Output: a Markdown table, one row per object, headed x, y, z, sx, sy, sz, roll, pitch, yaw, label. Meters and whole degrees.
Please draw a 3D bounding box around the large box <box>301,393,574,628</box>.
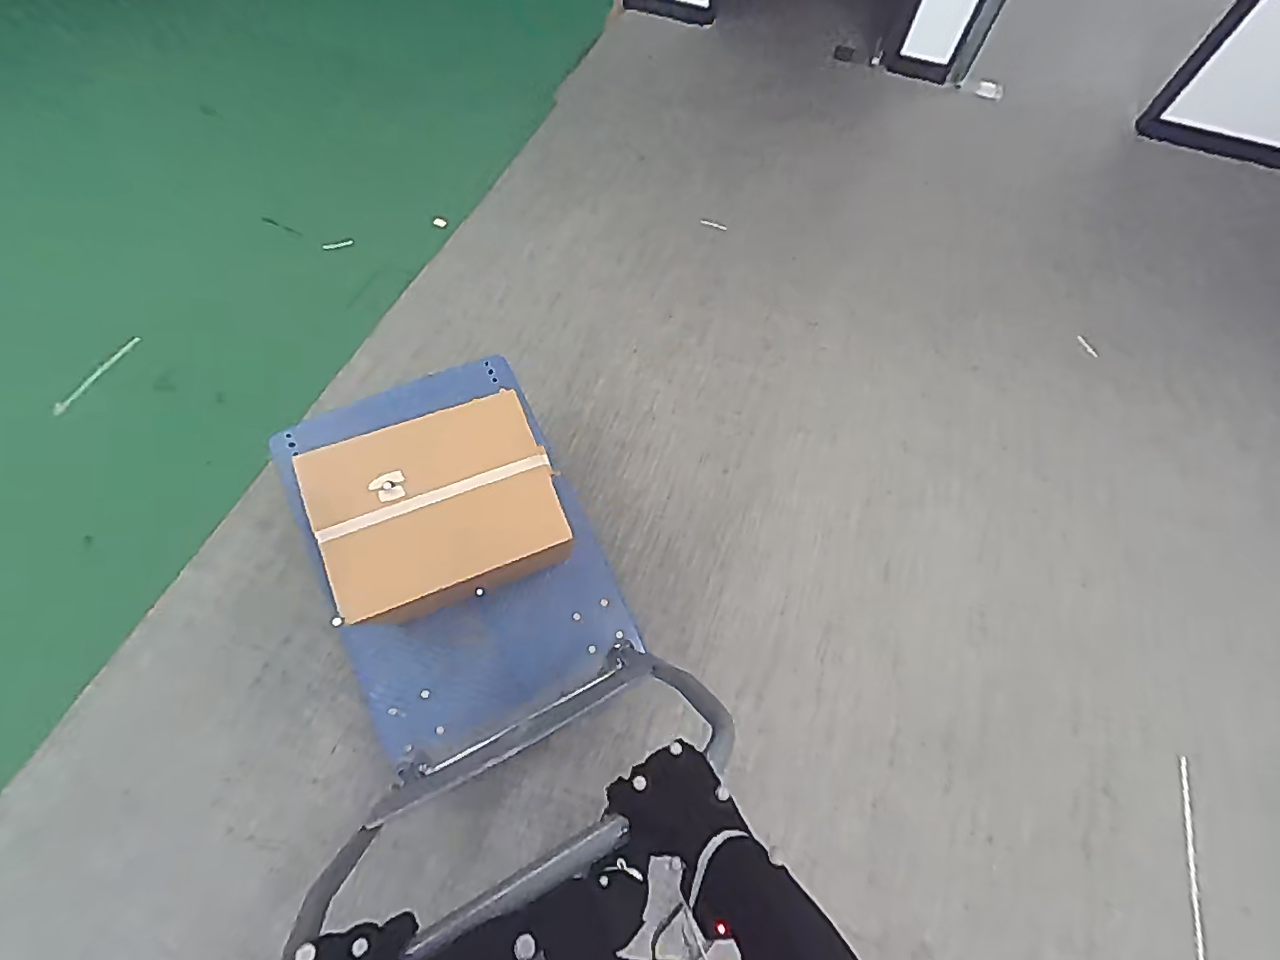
| x | y | z | sx | sy | sz | roll | pitch | yaw | label |
| --- | --- | --- | --- | --- | --- | --- | --- | --- | --- |
| -0.378 | 0.073 | 1.107 | 0.408 | 0.320 | 0.320 | -21 | 79 | -13 | large box |
